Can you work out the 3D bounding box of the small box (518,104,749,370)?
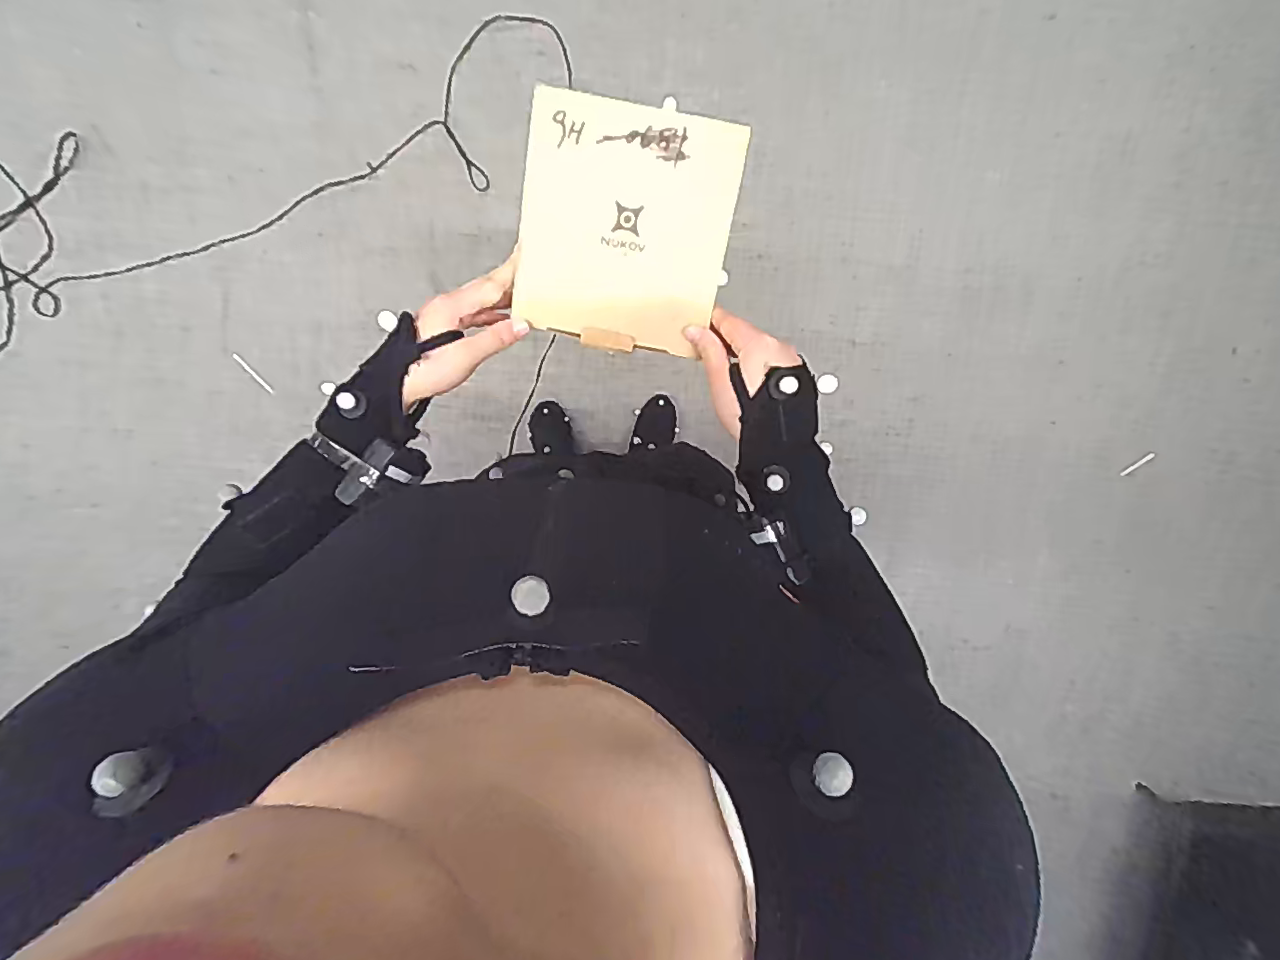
[{"bbox_3d":[-0.007,-0.217,0.513,0.168,0.176,0.179,10,110,-2],"label":"small box"}]
